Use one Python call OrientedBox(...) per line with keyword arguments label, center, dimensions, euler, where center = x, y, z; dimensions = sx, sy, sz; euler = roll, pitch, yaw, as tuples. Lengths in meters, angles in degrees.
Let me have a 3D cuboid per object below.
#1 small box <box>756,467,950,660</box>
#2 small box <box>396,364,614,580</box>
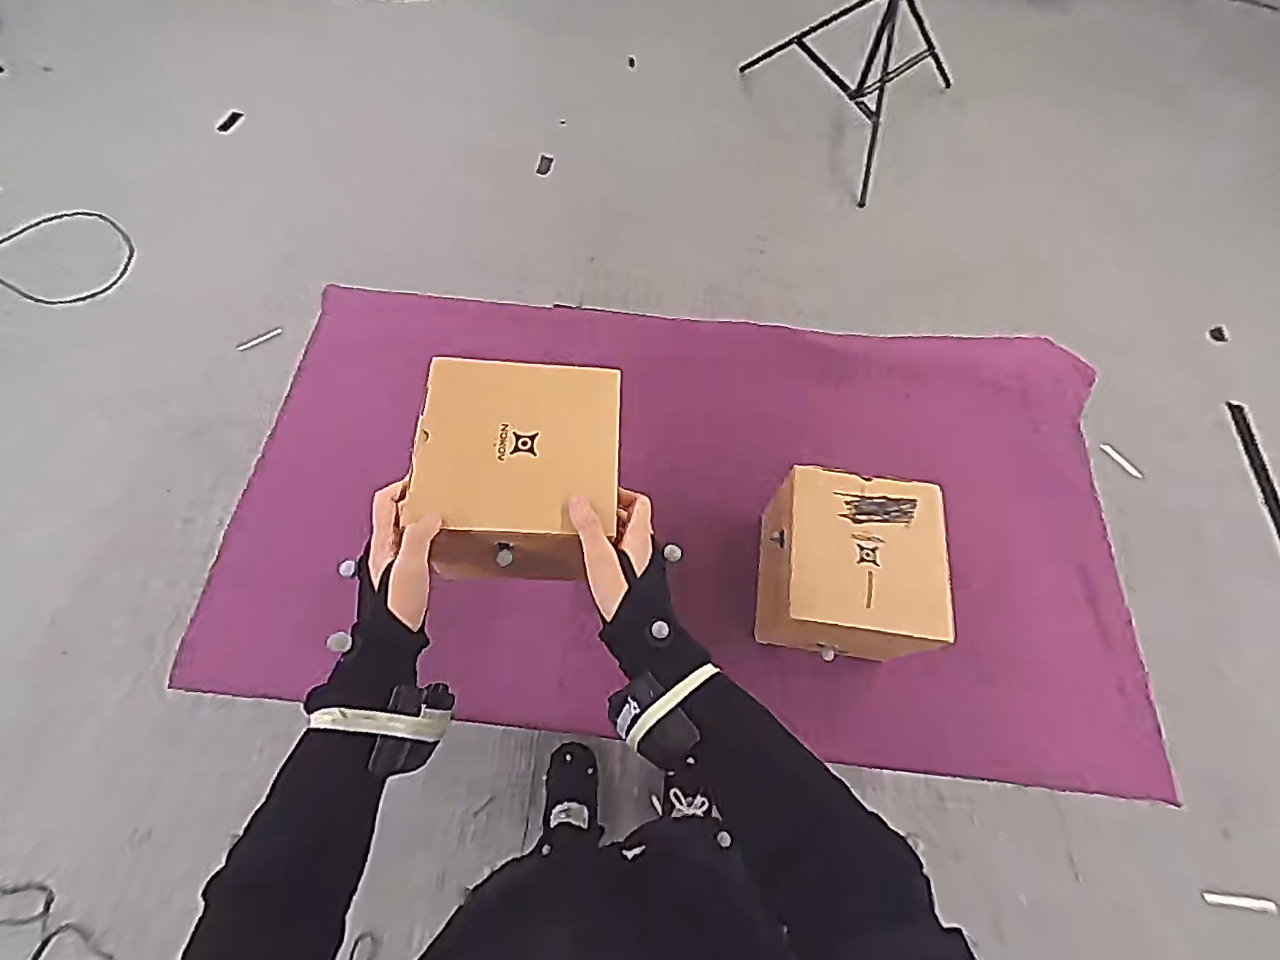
OrientedBox(label="small box", center=(0.240, 0.107, 0.651), dimensions=(0.168, 0.176, 0.179), euler=(8, 66, 3))
OrientedBox(label="small box", center=(-0.119, 0.003, 0.548), dimensions=(0.179, 0.176, 0.168), euler=(2, 67, -5))
